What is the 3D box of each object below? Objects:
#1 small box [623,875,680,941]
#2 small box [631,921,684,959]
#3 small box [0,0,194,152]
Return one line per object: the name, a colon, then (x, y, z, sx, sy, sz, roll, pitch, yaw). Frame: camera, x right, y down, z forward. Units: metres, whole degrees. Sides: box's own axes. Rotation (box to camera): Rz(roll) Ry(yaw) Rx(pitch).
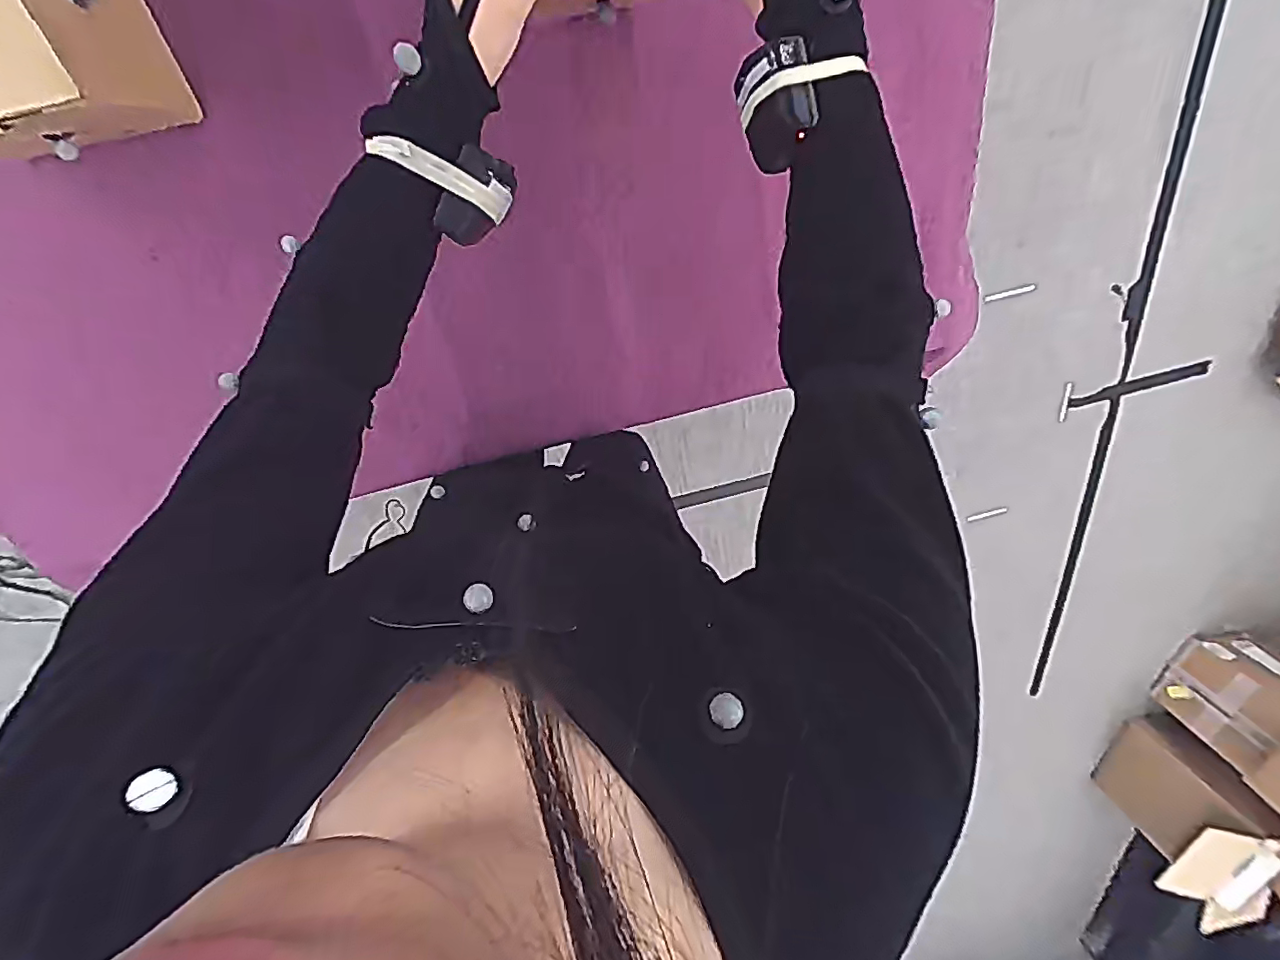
small box: (0.041, 1.684, 2.106, 0.179, 0.176, 0.168, -15, 119, -3)
small box: (0.074, 1.752, 1.962, 0.168, 0.176, 0.179, -15, 119, -4)
small box: (-0.473, -0.340, 0.375, 0.168, 0.176, 0.179, -16, 123, -4)
